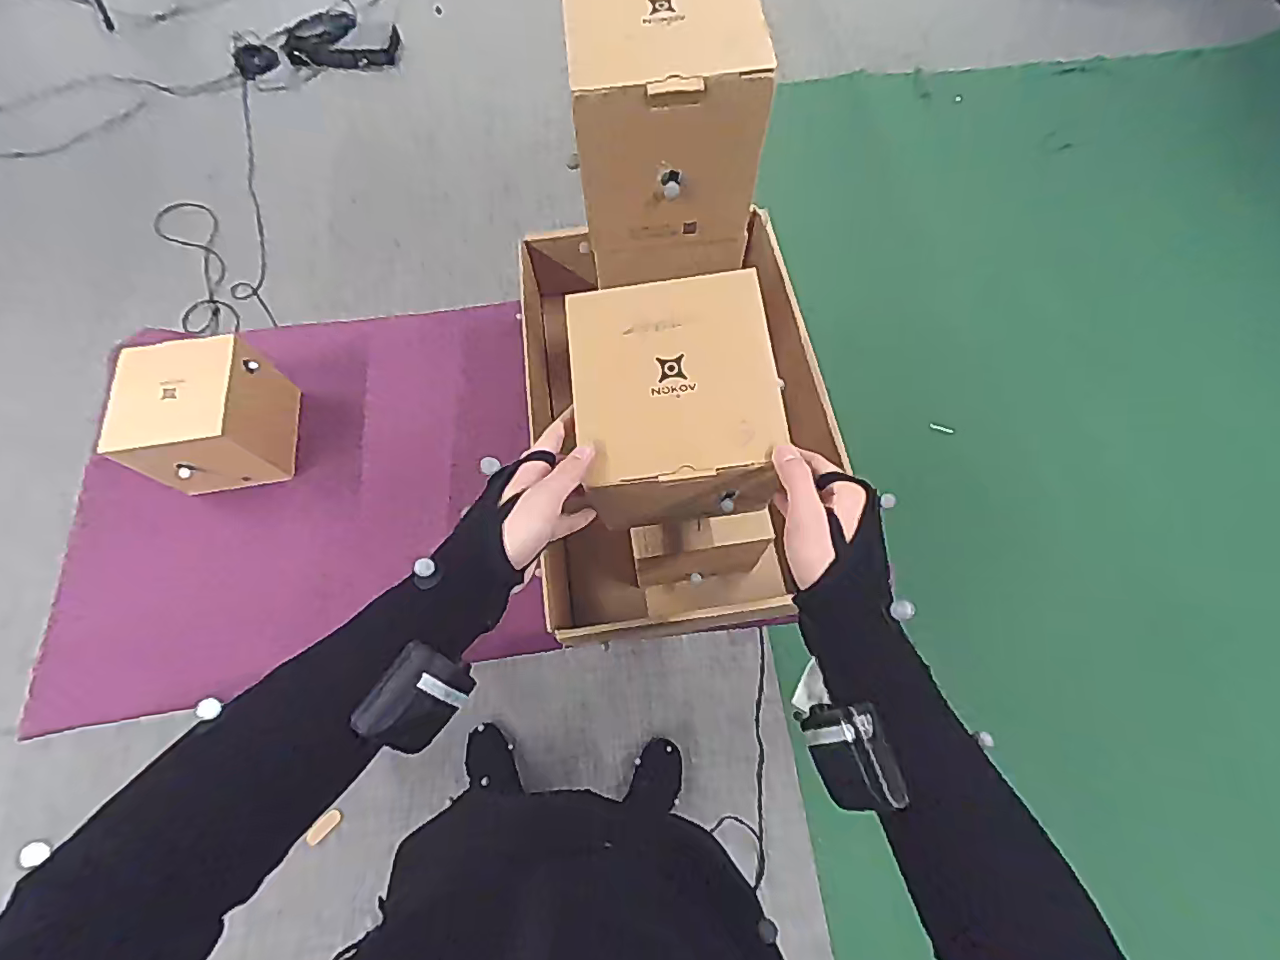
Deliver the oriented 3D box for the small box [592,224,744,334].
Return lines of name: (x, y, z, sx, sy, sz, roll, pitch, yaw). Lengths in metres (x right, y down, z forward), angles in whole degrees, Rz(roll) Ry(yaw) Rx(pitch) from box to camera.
small box: (0.027, -0.301, 0.682, 0.168, 0.176, 0.179, -6, 68, -1)

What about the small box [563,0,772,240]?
small box: (0.020, -0.358, 0.529, 0.168, 0.176, 0.179, -6, 70, -1)

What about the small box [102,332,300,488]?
small box: (-0.662, -0.098, 0.841, 0.168, 0.176, 0.179, -9, 67, -3)
